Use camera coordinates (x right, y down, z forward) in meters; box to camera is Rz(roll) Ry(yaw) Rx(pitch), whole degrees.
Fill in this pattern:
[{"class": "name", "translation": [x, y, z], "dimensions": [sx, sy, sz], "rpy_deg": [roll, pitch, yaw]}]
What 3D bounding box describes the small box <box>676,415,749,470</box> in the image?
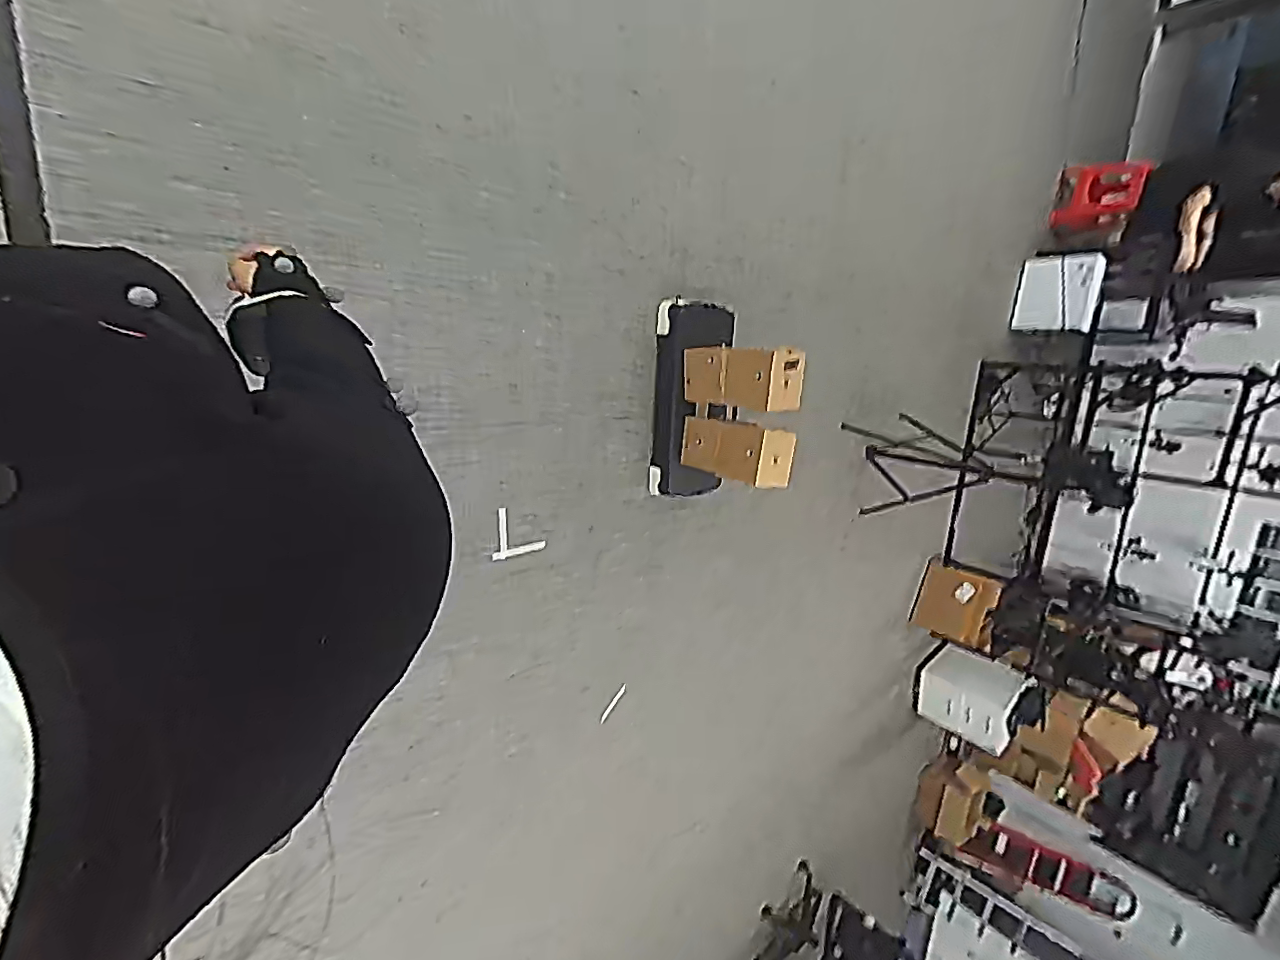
[{"class": "small box", "translation": [0.243, -0.129, 1.836], "dimensions": [0.179, 0.176, 0.168], "rpy_deg": [-3, 105, -40]}]
